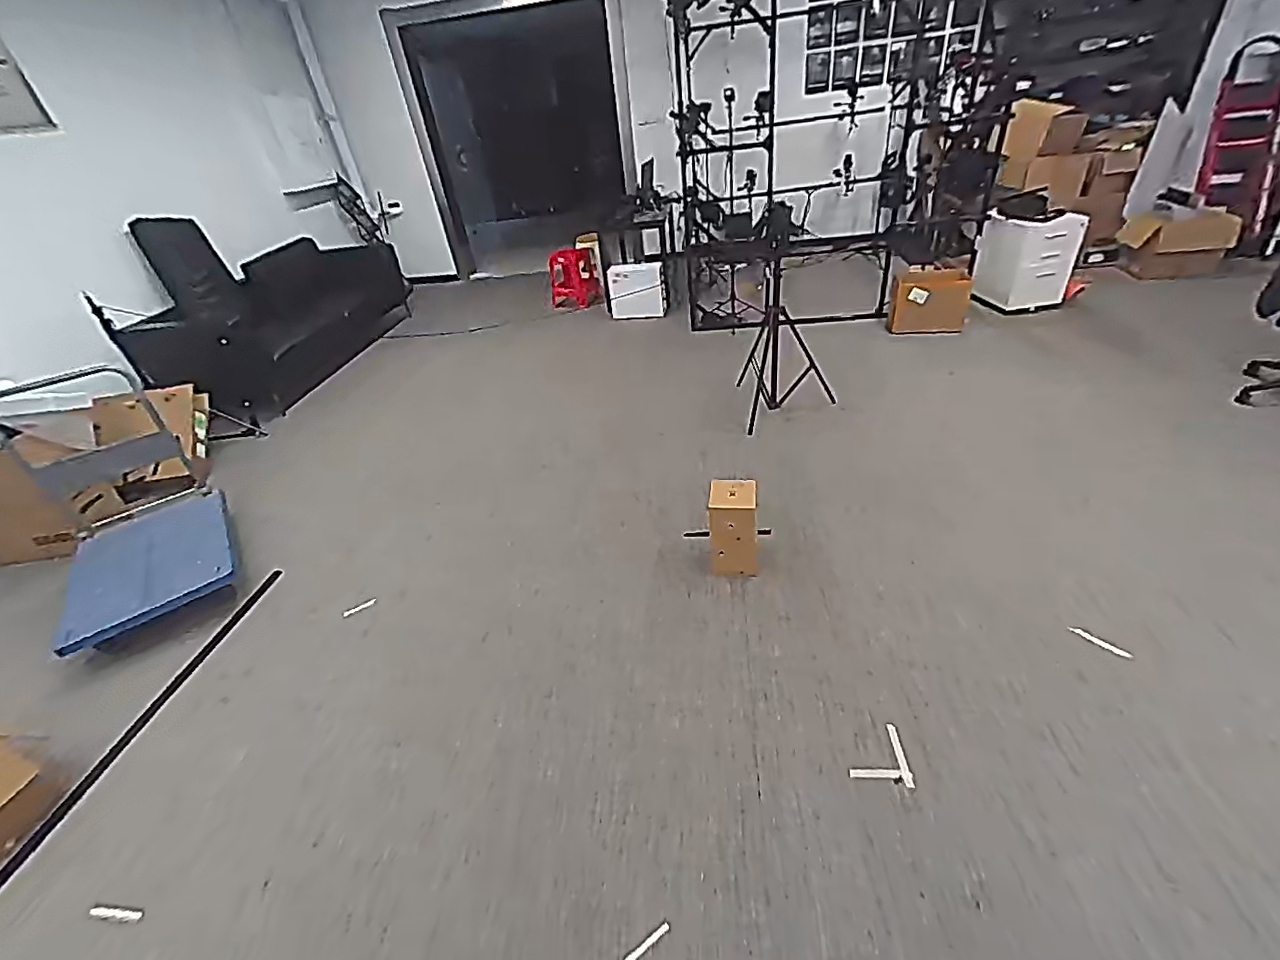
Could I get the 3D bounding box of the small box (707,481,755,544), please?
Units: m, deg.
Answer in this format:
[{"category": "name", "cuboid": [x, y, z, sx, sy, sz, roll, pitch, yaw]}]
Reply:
[{"category": "small box", "cuboid": [0.344, 0.122, 2.016, 0.168, 0.176, 0.179, 1, 34, 12]}]
